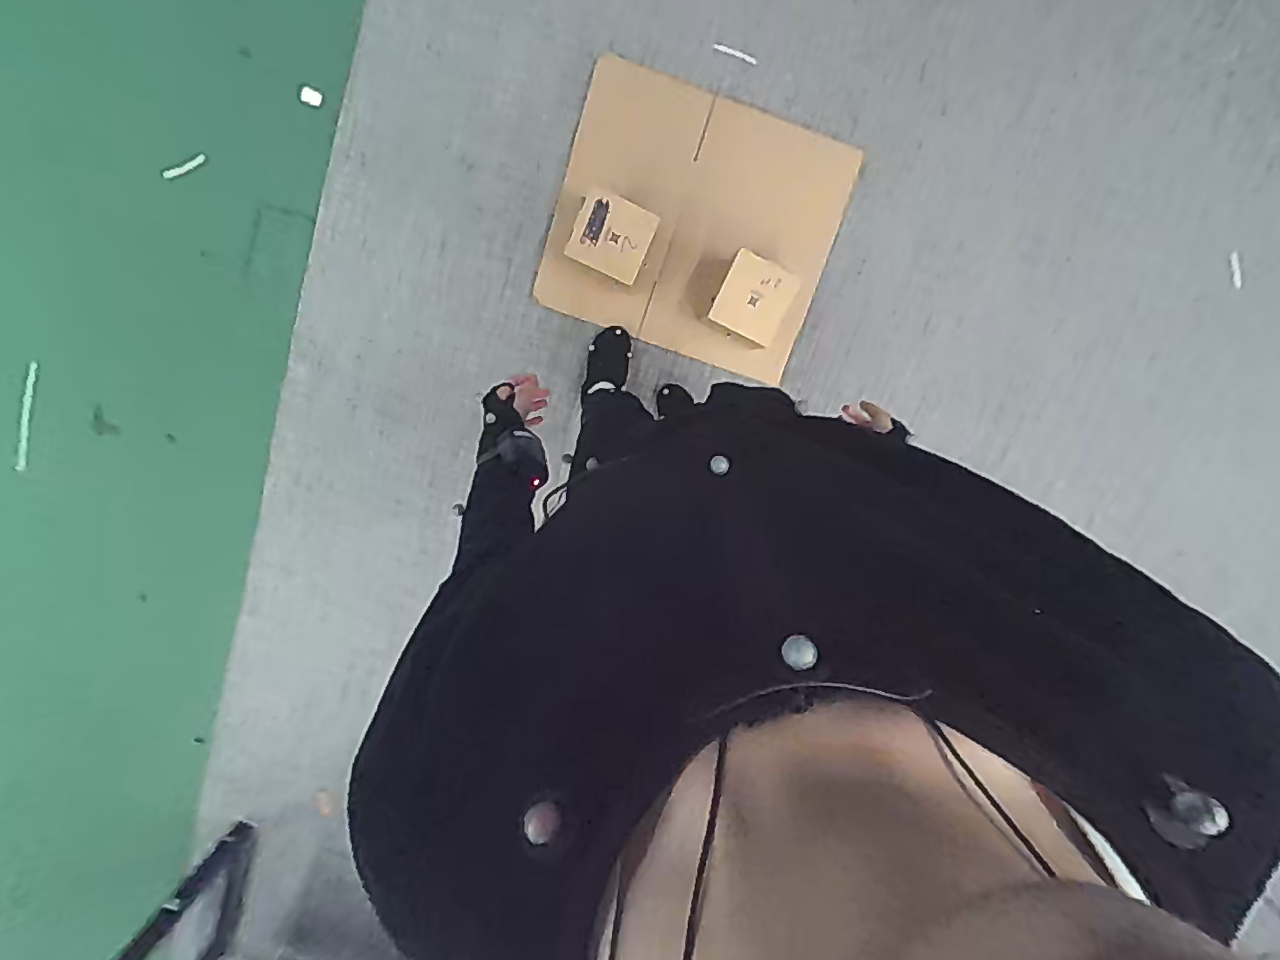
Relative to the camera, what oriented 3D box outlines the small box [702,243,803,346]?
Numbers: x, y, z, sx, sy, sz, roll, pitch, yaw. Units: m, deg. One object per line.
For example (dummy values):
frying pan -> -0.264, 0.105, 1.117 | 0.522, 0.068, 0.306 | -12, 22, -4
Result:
small box -> 0.263, -0.441, 1.319 | 0.168, 0.176, 0.179 | 26, 100, -6
